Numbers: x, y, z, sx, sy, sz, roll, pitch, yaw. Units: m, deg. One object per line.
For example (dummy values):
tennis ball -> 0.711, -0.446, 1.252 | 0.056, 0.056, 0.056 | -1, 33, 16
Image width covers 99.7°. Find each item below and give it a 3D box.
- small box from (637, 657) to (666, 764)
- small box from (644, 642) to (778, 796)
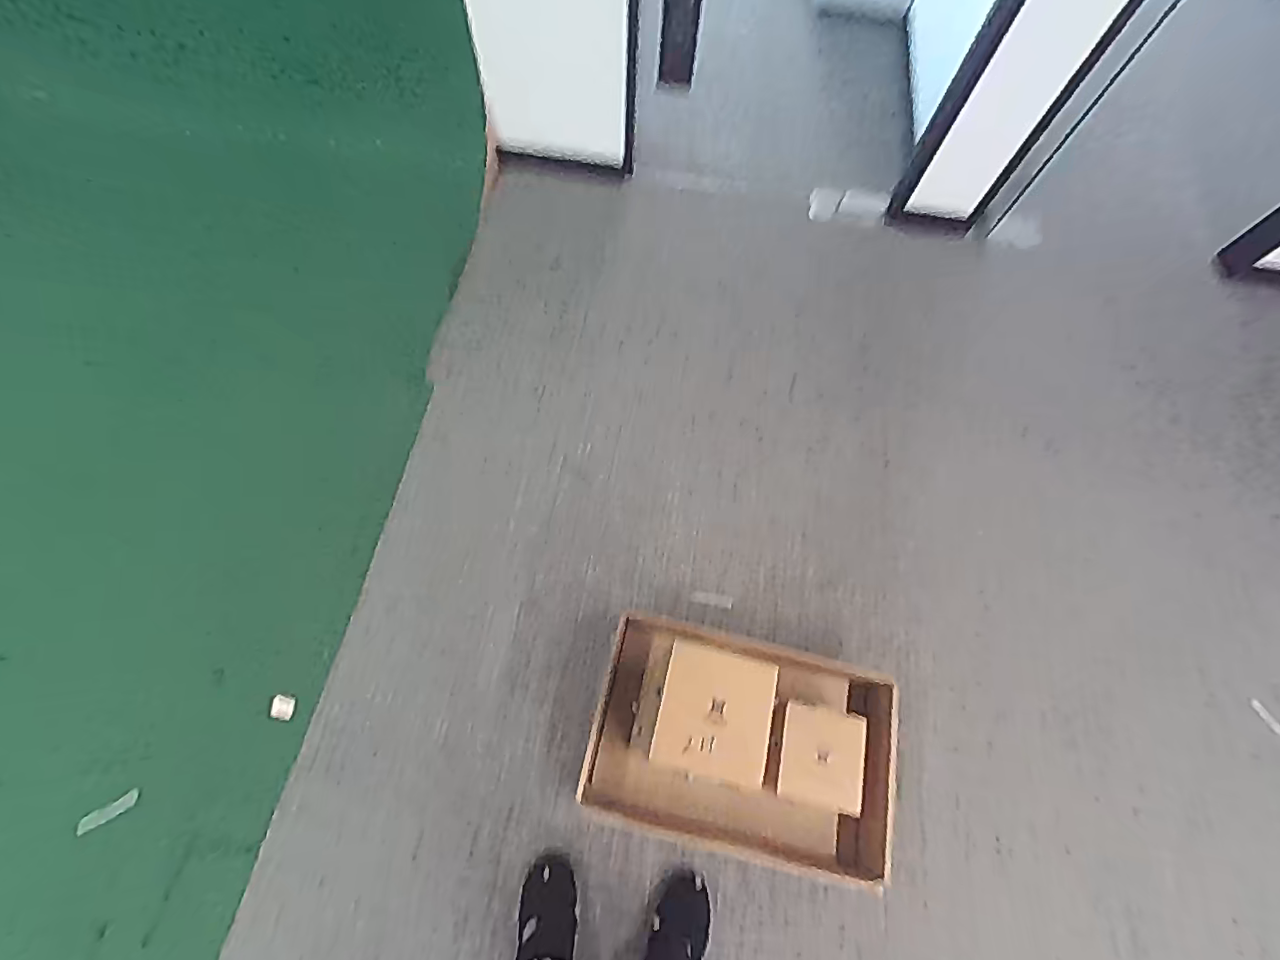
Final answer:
small box -> 0.092, 0.447, 1.009 | 0.168, 0.176, 0.179 | 14, 66, 3
small box -> 0.106, 0.376, 0.861 | 0.168, 0.176, 0.179 | 14, 66, 3
